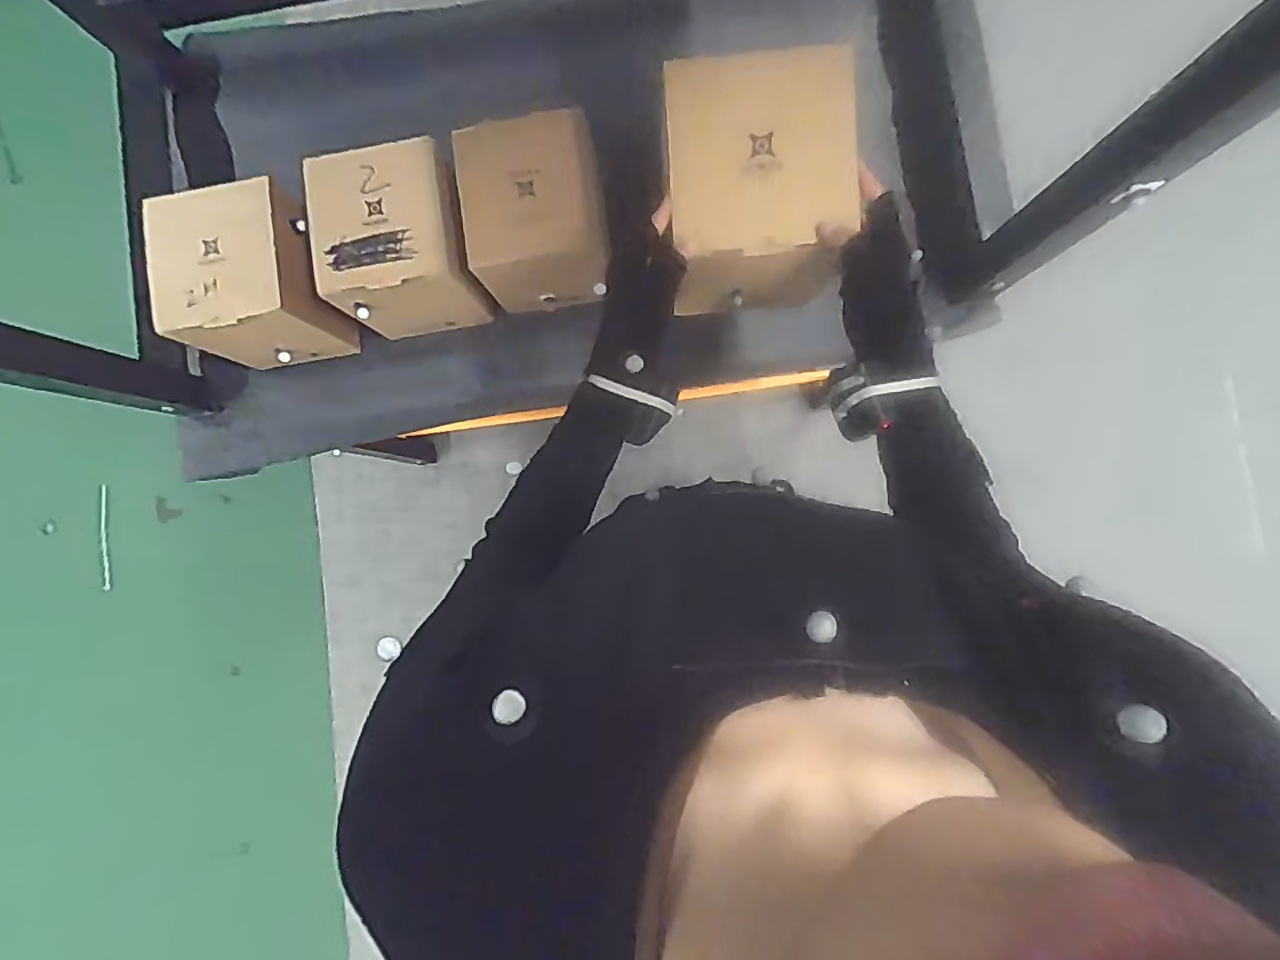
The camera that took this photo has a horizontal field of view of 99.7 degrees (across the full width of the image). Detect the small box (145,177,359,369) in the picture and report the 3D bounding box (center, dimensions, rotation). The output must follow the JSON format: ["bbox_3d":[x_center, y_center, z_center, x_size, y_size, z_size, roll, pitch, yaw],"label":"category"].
[{"bbox_3d":[-0.512,-0.268,0.735,0.168,0.176,0.179,-9,86,3],"label":"small box"}]
